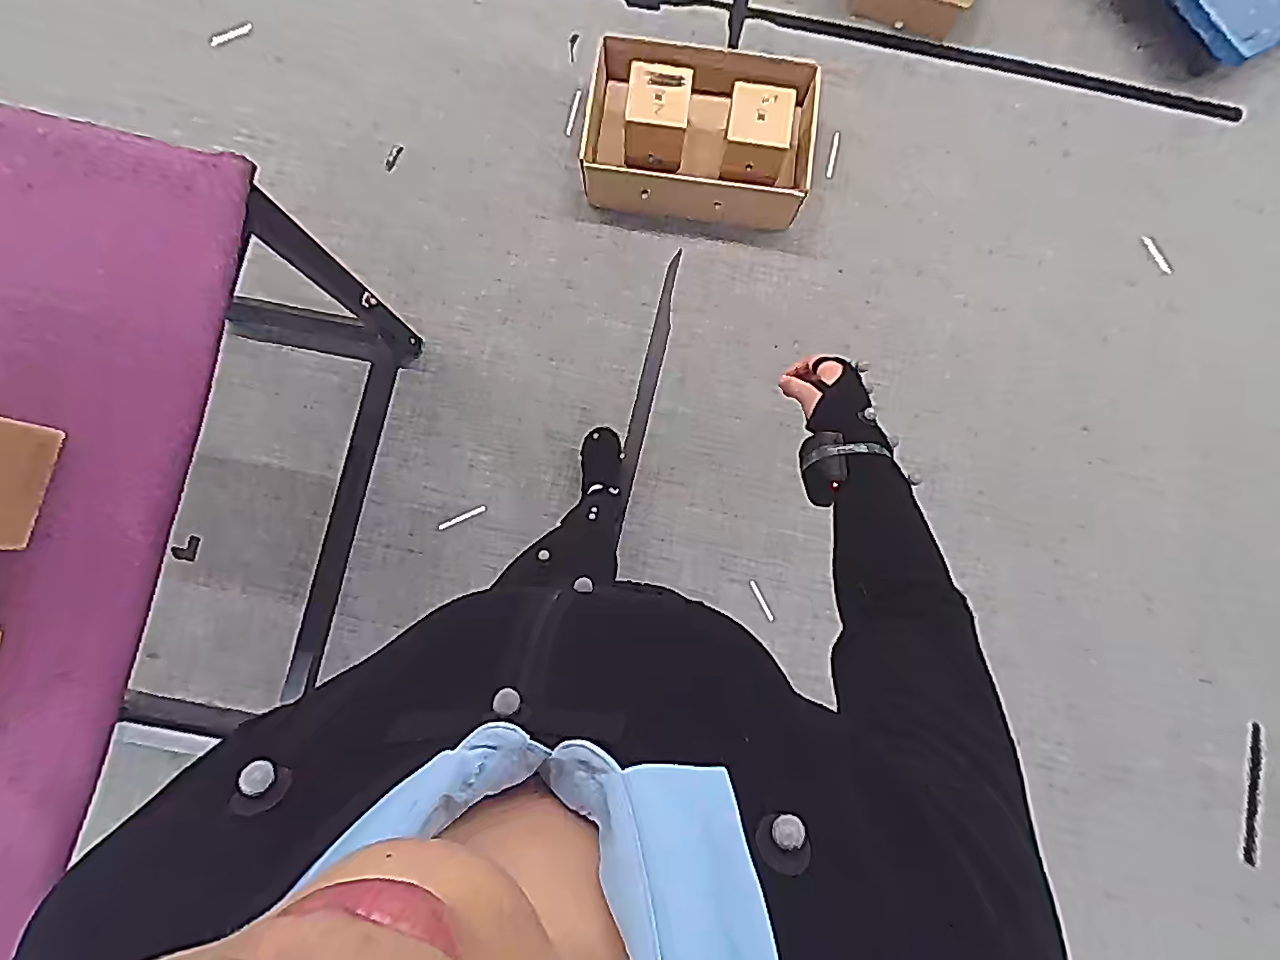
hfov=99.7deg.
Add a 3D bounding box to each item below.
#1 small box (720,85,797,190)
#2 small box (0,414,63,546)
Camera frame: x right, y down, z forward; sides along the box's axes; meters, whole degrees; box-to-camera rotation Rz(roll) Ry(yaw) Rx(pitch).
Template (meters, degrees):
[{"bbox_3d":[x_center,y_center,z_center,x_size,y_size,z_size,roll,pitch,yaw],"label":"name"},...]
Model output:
[{"bbox_3d":[0.324,-0.944,1.505,0.168,0.176,0.179,9,82,0],"label":"small box"},{"bbox_3d":[-0.923,-0.017,0.696,0.168,0.176,0.179,13,84,1],"label":"small box"}]
